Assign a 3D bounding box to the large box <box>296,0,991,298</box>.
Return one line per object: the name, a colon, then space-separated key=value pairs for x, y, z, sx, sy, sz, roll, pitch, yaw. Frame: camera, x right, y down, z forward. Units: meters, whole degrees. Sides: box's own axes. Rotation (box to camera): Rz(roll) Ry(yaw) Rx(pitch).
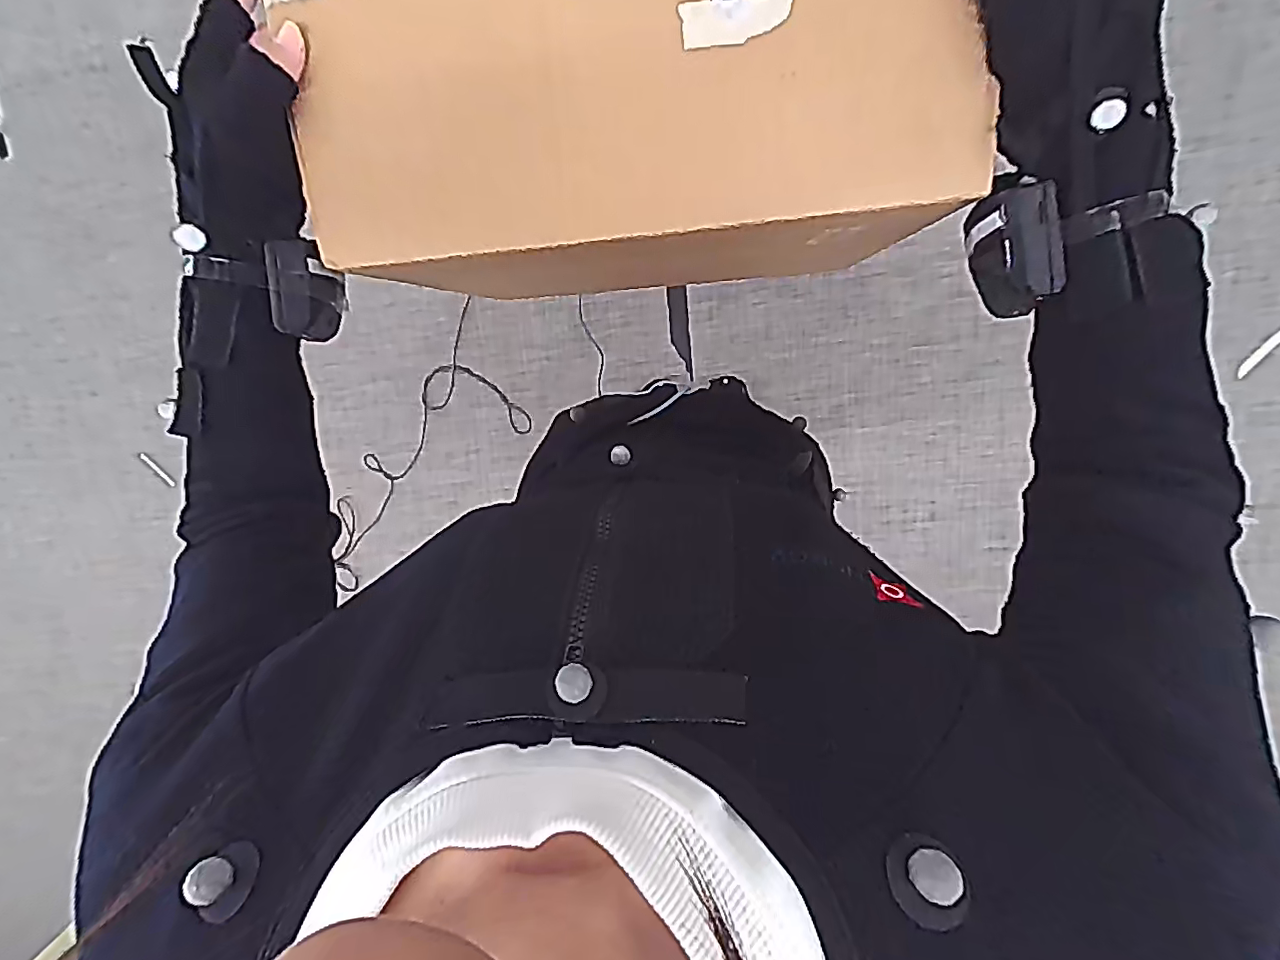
large box: x=0.002 y=-0.343 z=0.444 sx=0.408 sy=0.320 sz=0.320 roll=-3 pitch=105 yaw=7
